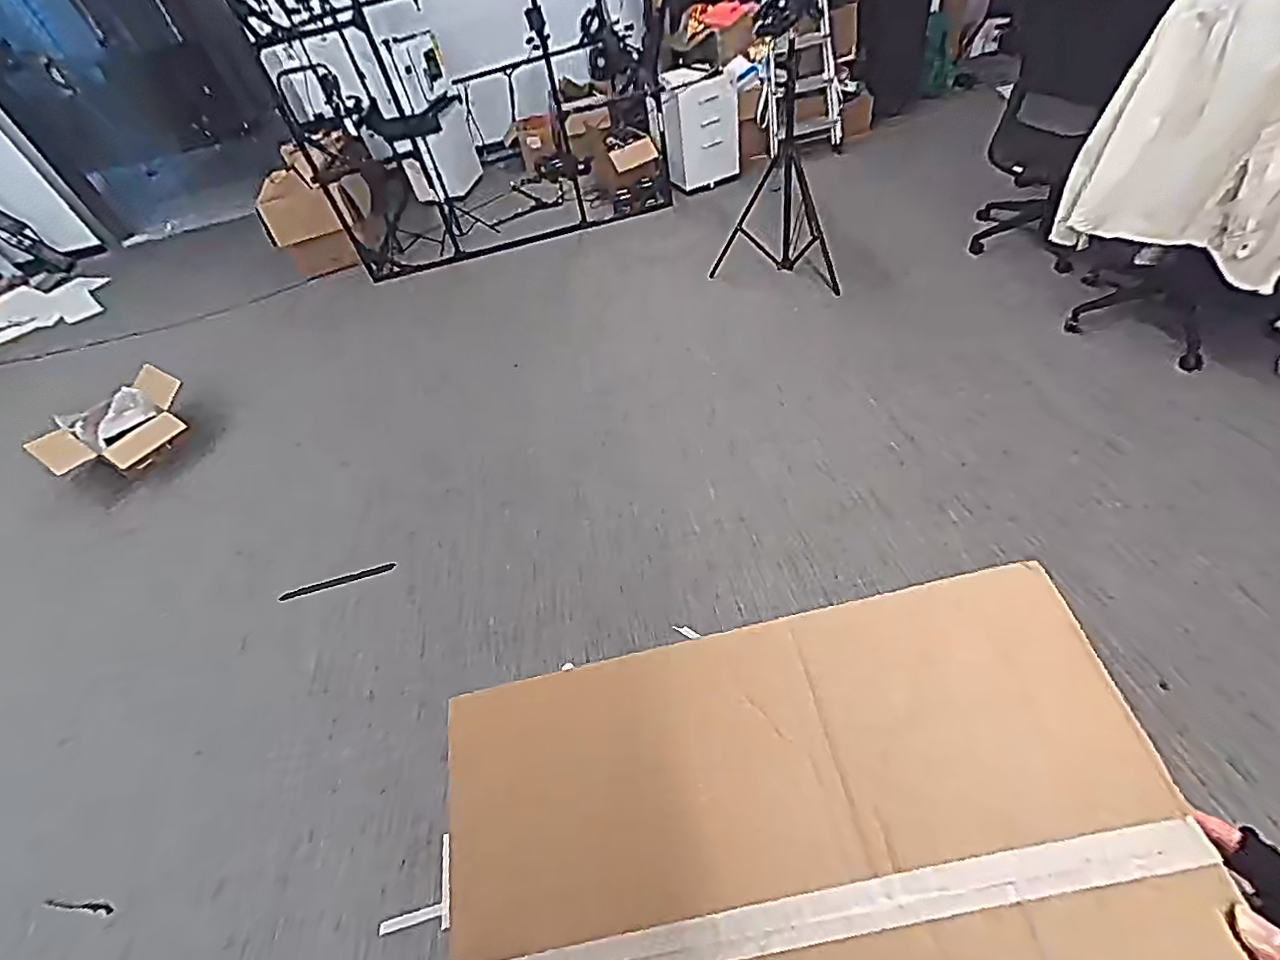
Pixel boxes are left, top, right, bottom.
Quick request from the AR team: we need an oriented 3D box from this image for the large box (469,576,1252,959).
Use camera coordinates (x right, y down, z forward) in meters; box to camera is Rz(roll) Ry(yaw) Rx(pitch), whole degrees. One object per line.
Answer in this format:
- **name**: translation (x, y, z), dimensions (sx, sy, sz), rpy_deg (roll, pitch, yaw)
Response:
- **large box**: translation (0.123, 0.314, 0.428), dimensions (0.408, 0.320, 0.320), rpy_deg (-15, 61, 4)
